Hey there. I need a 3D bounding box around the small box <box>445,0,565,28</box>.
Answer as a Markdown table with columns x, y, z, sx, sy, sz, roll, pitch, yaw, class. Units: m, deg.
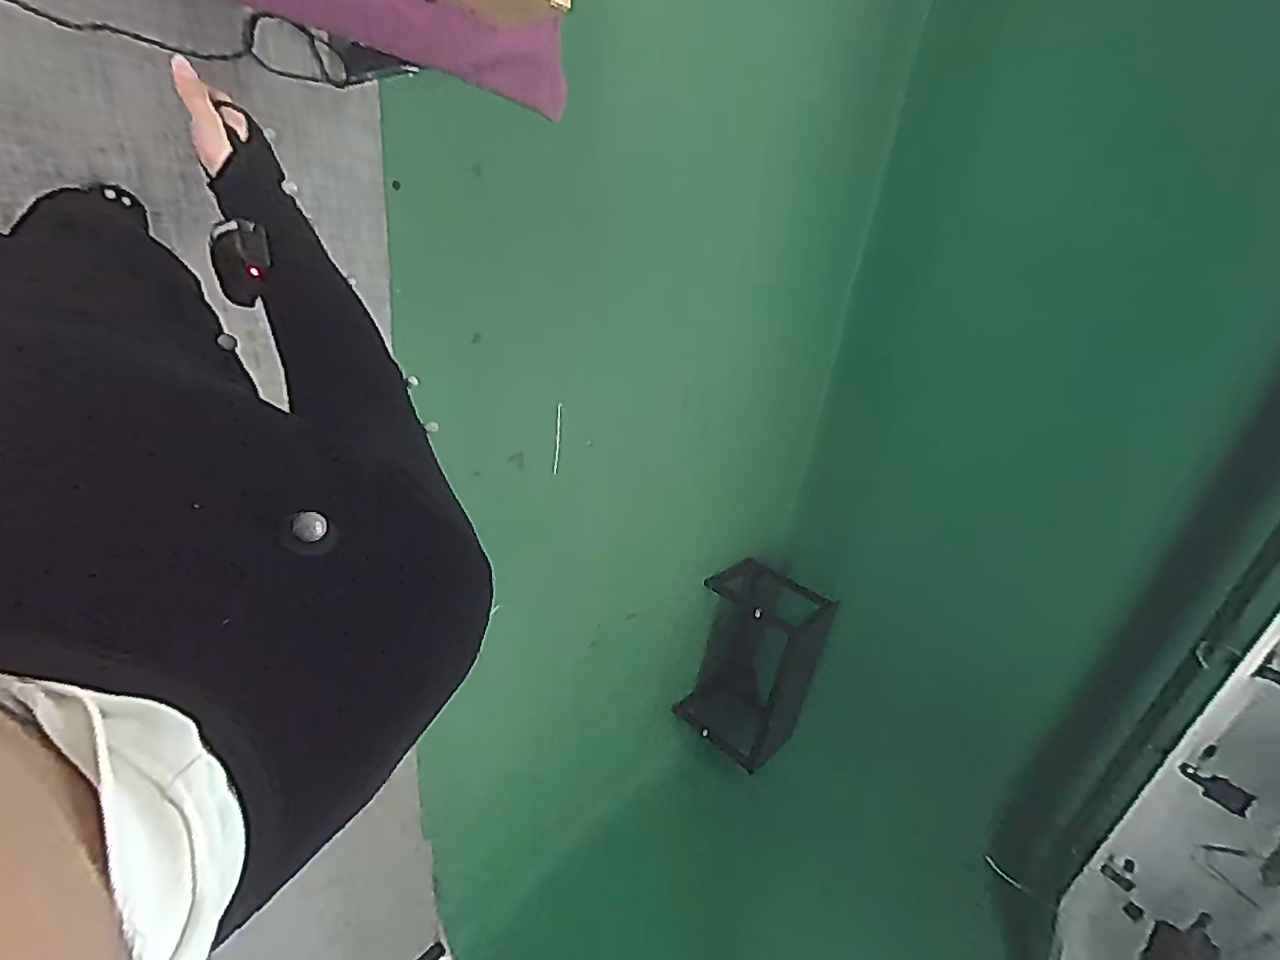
| x | y | z | sx | sy | sz | roll | pitch | yaw | class |
| --- | --- | --- | --- | --- | --- | --- | --- | --- | --- |
| -0.203 | -0.727 | 0.697 | 0.168 | 0.176 | 0.179 | -13 | 120 | -46 | small box |
